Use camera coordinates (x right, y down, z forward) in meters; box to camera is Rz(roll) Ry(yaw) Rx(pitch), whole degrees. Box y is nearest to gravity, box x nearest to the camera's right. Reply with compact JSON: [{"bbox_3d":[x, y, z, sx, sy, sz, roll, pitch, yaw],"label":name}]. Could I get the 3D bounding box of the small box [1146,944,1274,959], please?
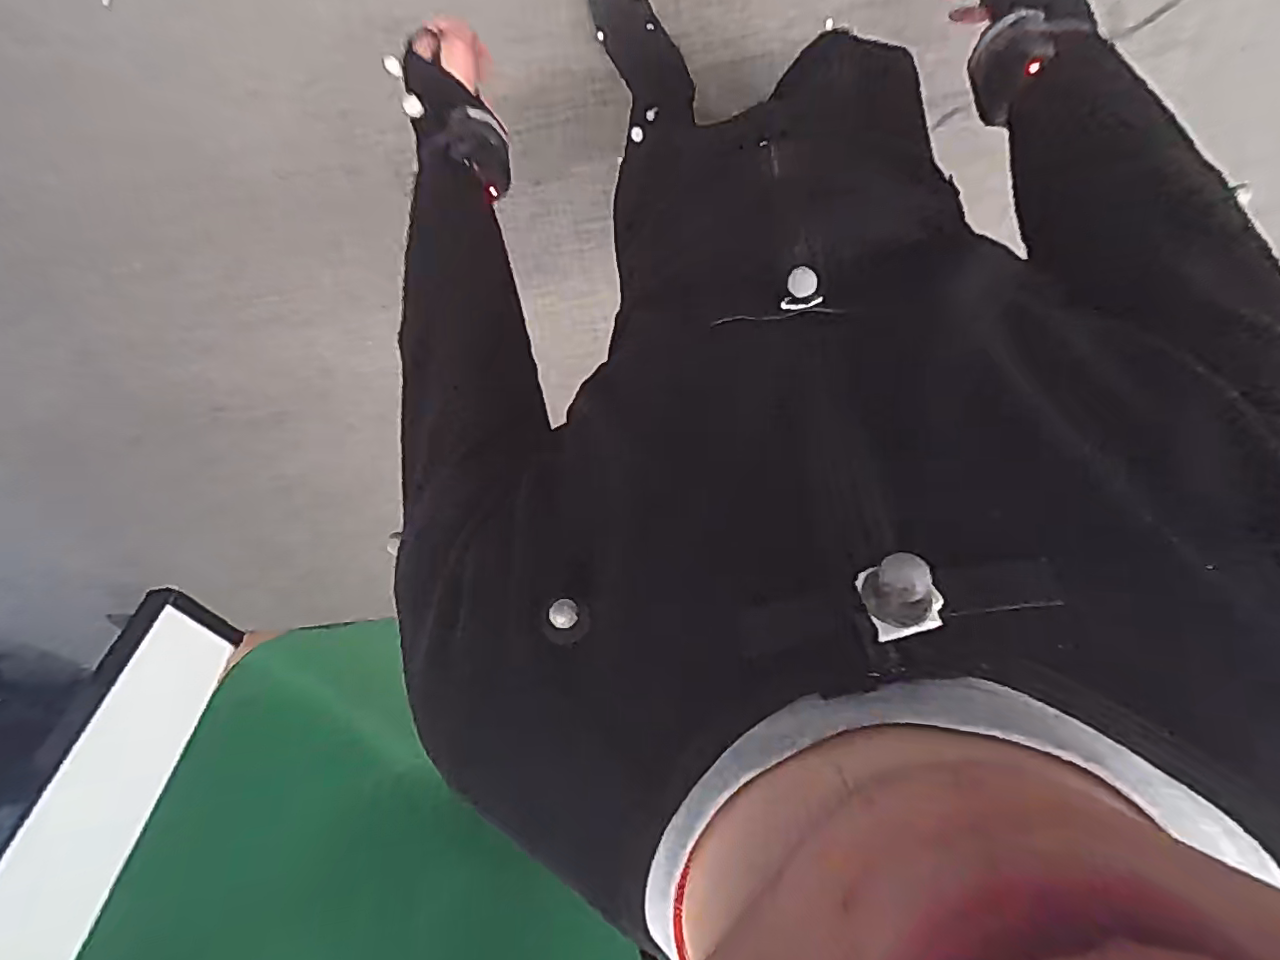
[{"bbox_3d":[1.235,1.086,1.126,0.179,0.176,0.168,-10,135,7],"label":"small box"}]
